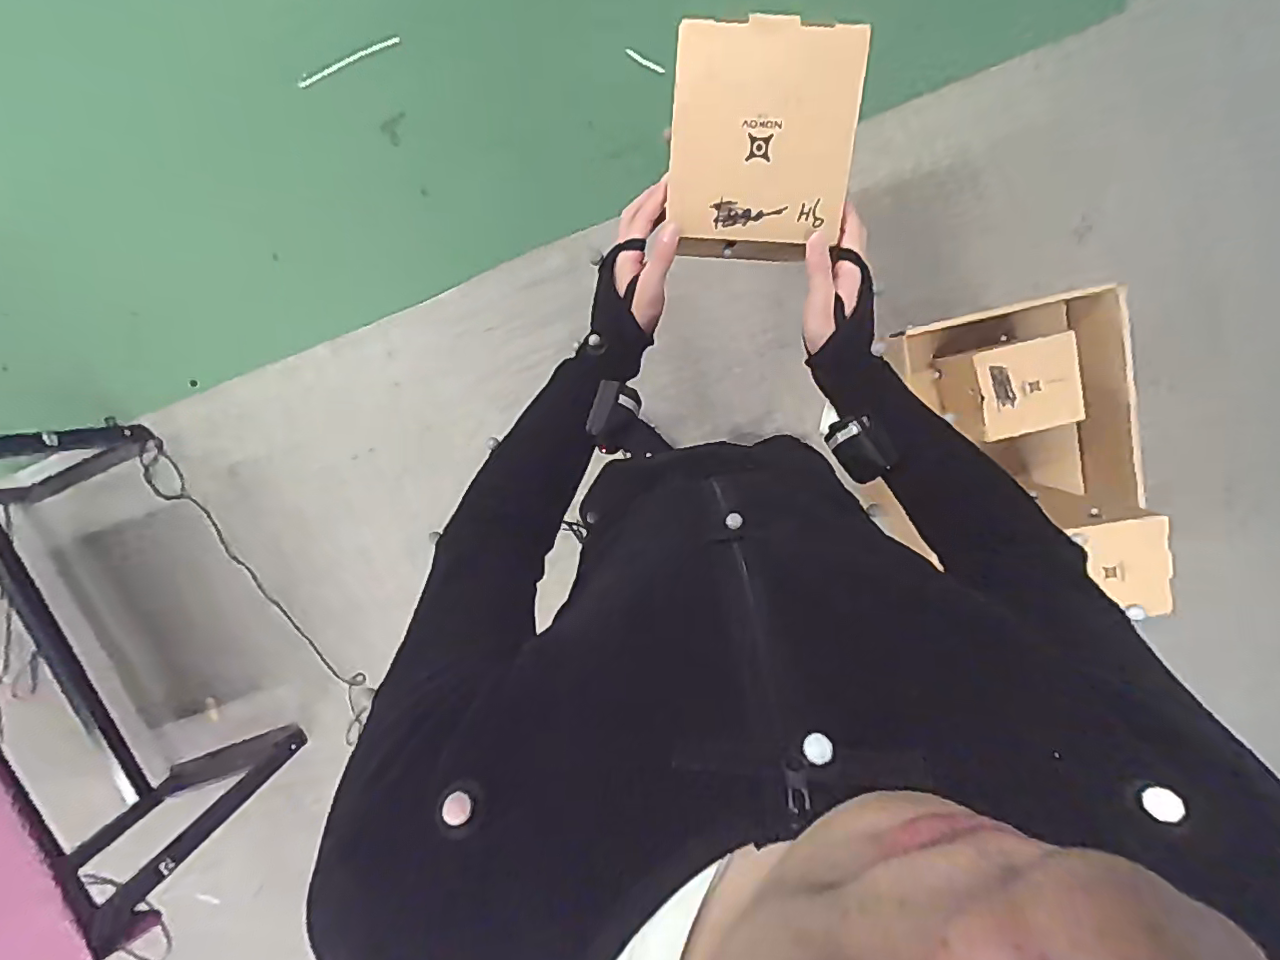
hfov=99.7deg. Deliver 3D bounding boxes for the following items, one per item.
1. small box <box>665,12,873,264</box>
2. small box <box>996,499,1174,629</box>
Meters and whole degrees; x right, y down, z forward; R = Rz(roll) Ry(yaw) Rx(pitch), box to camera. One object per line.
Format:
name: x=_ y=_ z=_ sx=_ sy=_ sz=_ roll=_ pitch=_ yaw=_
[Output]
small box: x=0.115 y=-0.330 z=0.555 sx=0.168 sy=0.176 sz=0.179 roll=5 pitch=107 yaw=3
small box: x=0.757 y=0.136 z=0.934 sx=0.179 sy=0.176 sz=0.168 roll=-9 pitch=98 yaw=5
